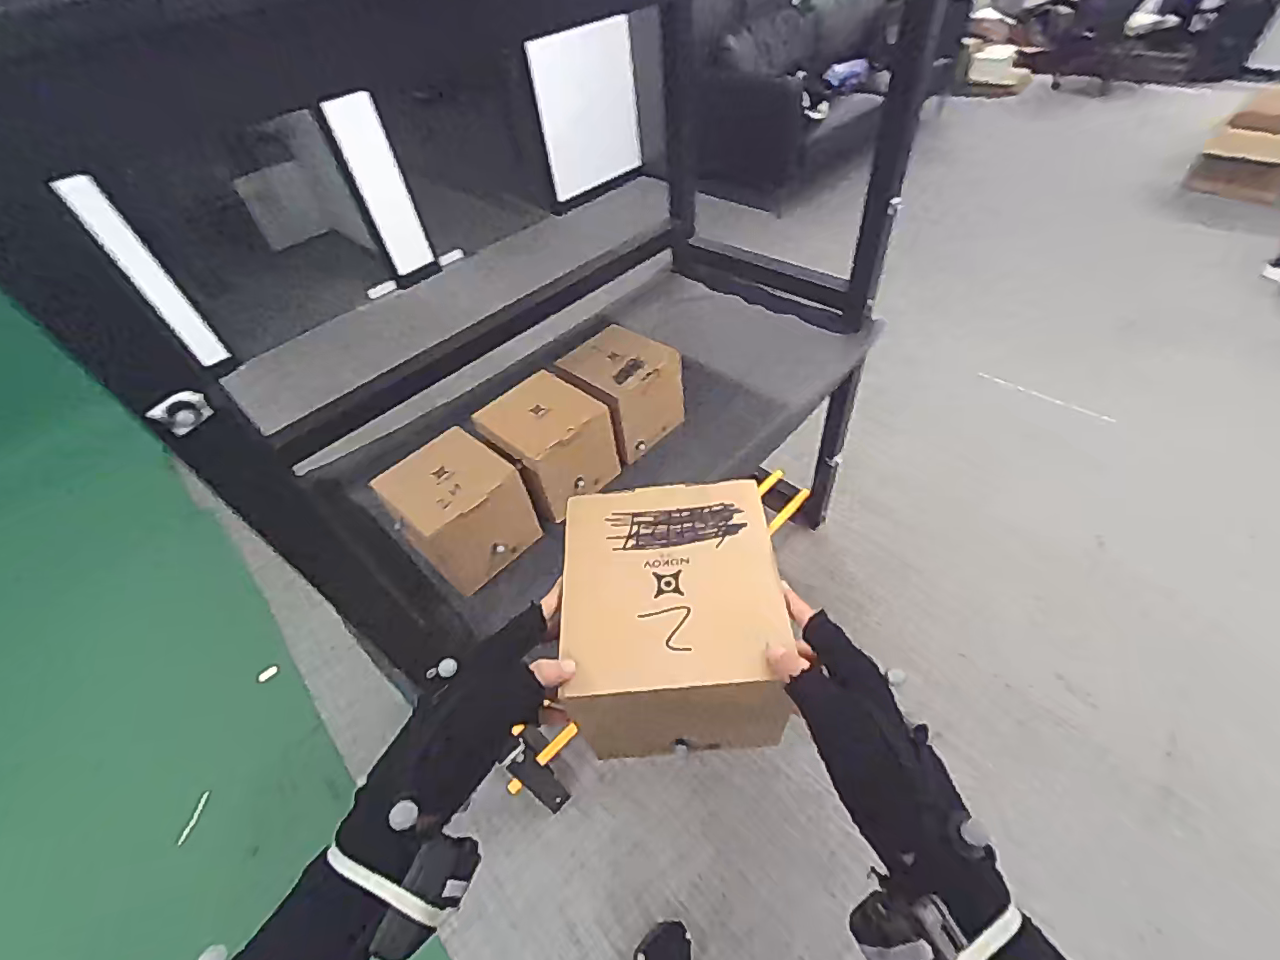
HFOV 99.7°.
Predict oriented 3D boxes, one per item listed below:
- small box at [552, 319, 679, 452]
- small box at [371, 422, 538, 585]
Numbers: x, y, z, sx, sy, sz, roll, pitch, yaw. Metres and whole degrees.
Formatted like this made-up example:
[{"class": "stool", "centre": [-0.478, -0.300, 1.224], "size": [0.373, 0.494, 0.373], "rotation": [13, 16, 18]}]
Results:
[{"class": "small box", "centre": [-0.039, -0.179, 1.052], "size": [0.179, 0.176, 0.168], "rotation": [31, 59, 32]}, {"class": "small box", "centre": [-0.296, 0.041, 0.891], "size": [0.179, 0.176, 0.168], "rotation": [32, 60, 31]}]
